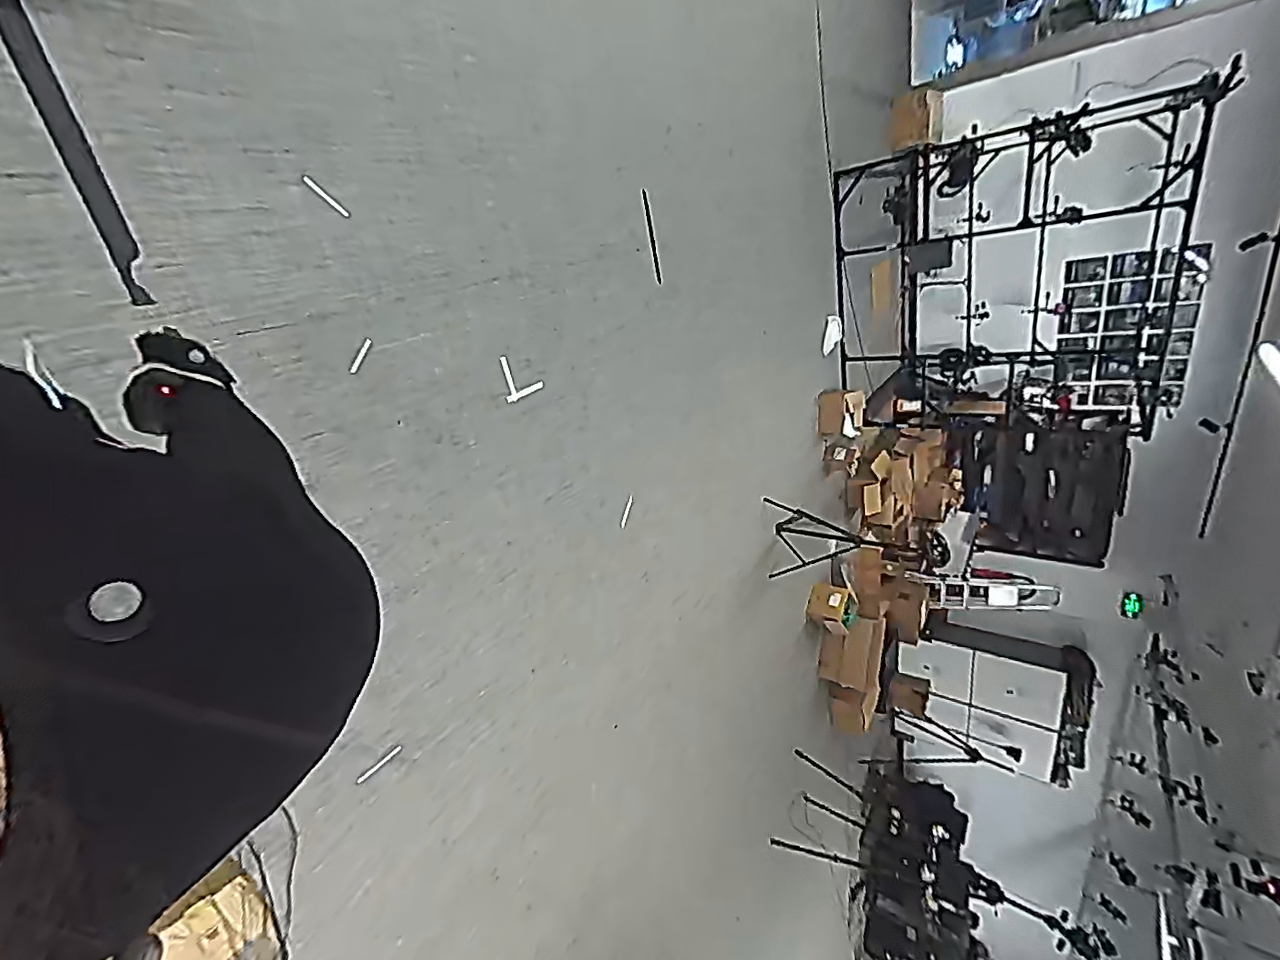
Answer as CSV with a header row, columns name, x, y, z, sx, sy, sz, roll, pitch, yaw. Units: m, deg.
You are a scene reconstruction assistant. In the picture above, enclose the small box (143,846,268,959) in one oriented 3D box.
name,x,y,z,sx,sy,sz,roll,pitch,yaw
small box,-1.008,0.997,1.253,0.168,0.176,0.179,-26,116,-47
